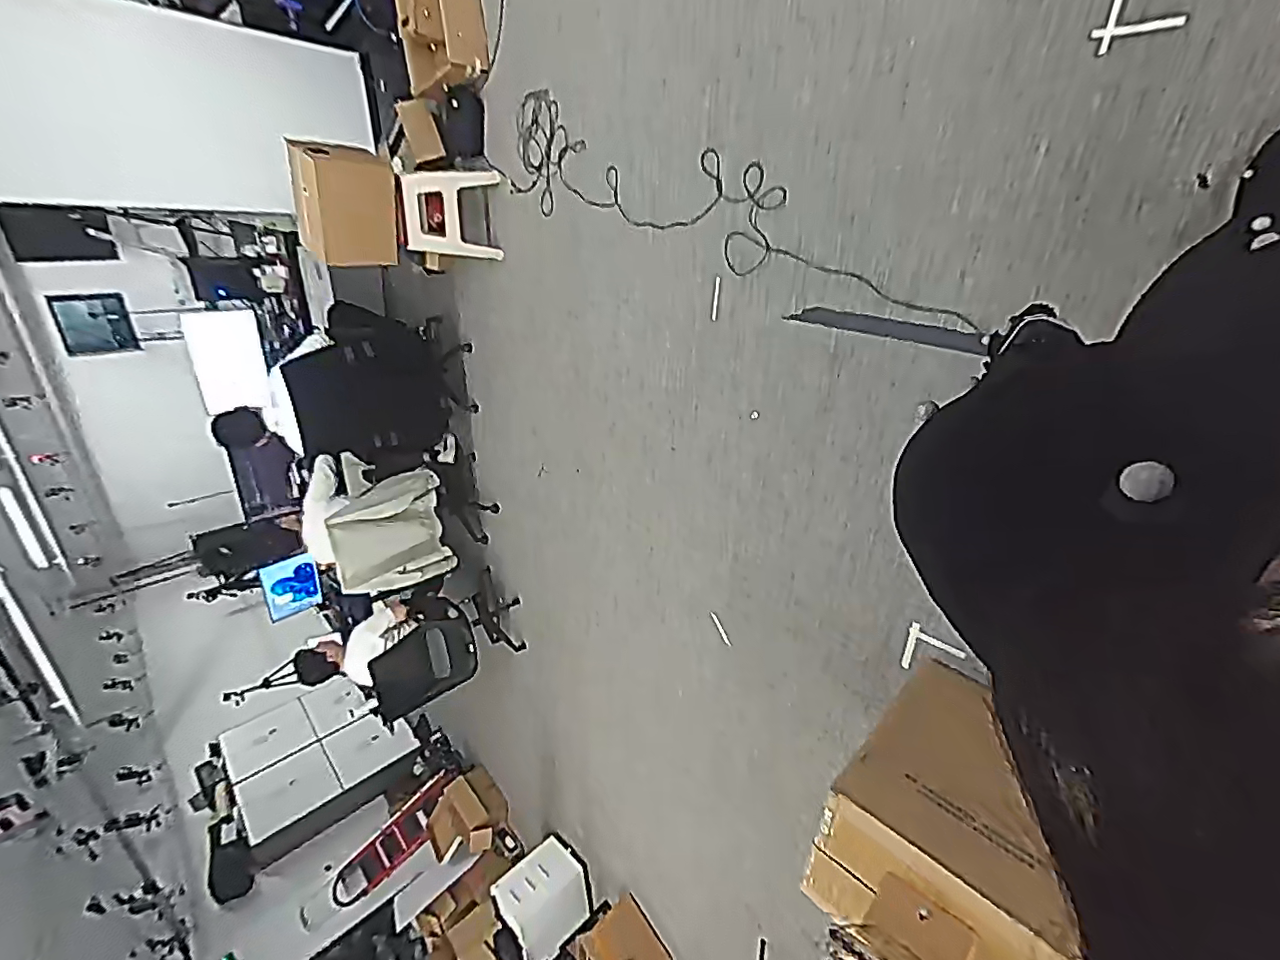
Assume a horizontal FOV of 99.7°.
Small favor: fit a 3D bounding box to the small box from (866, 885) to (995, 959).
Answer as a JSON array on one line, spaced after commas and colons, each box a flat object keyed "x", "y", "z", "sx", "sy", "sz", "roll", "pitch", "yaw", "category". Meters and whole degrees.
[{"x": 0.574, "y": 0.967, "z": 1.082, "sx": 0.179, "sy": 0.176, "sz": 0.168, "roll": 16, "pitch": 117, "yaw": 46, "category": "small box"}]
